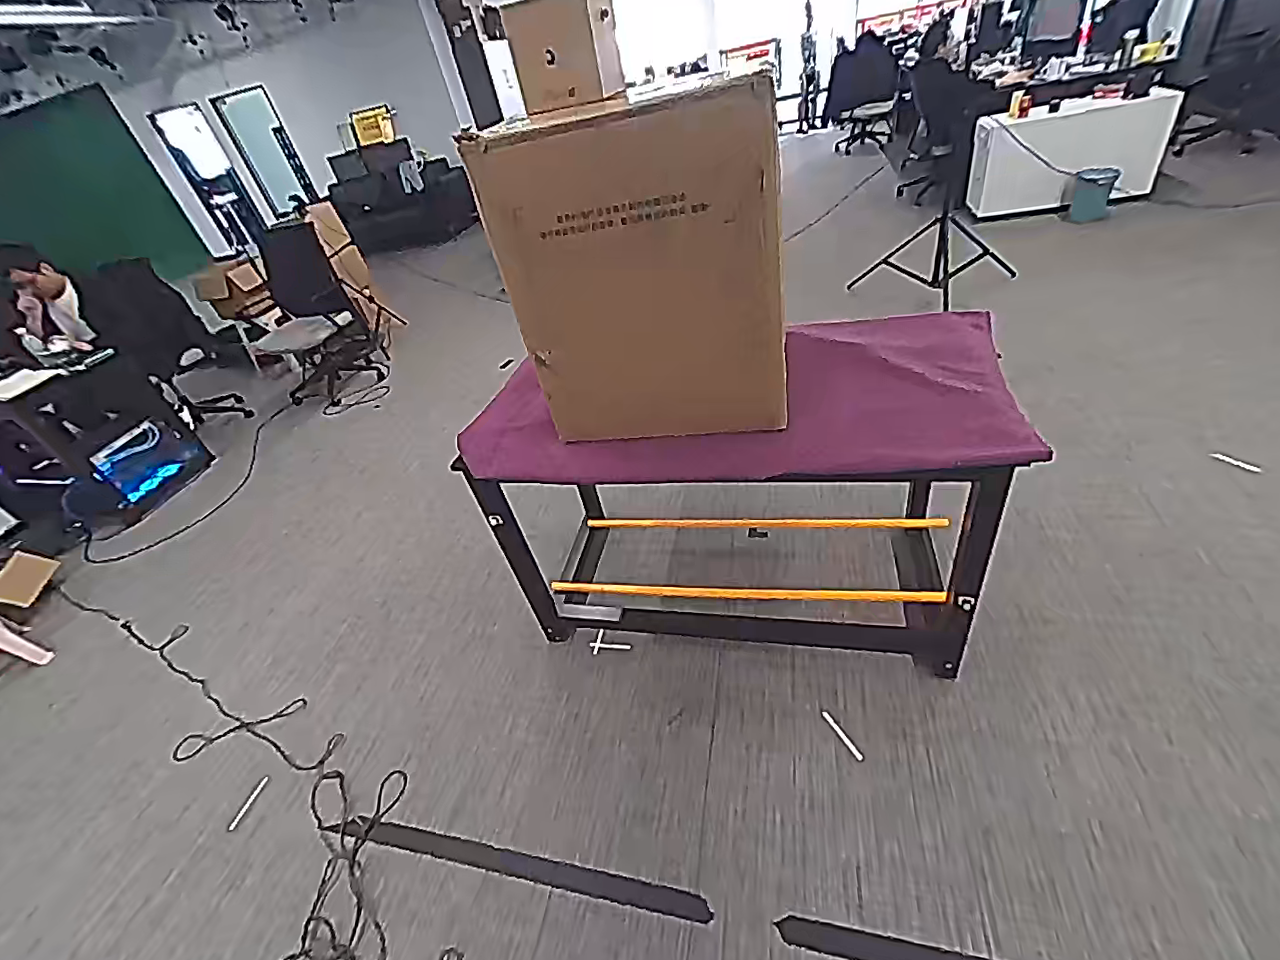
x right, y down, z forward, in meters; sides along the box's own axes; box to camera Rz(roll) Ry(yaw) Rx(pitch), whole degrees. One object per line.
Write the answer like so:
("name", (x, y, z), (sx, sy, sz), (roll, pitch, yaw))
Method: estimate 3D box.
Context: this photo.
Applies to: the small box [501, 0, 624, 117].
("small box", (-0.139, -0.826, 1.056), (0.168, 0.176, 0.179), (1, 39, 17))
